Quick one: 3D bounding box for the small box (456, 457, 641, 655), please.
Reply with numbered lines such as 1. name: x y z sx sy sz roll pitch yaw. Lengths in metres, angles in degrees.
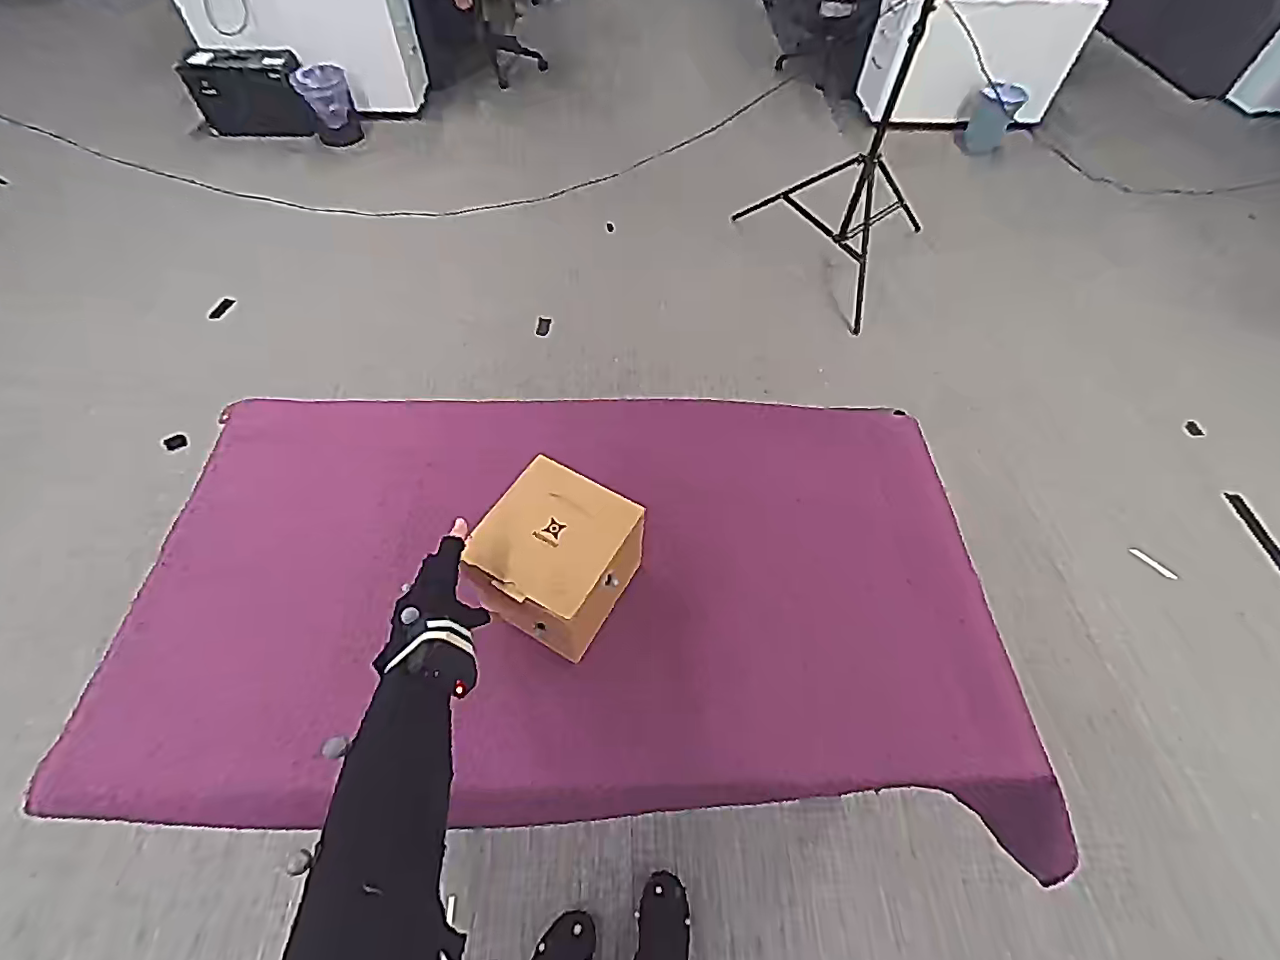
1. small box: -0.110 0.108 0.730 0.168 0.176 0.179 26 59 14
